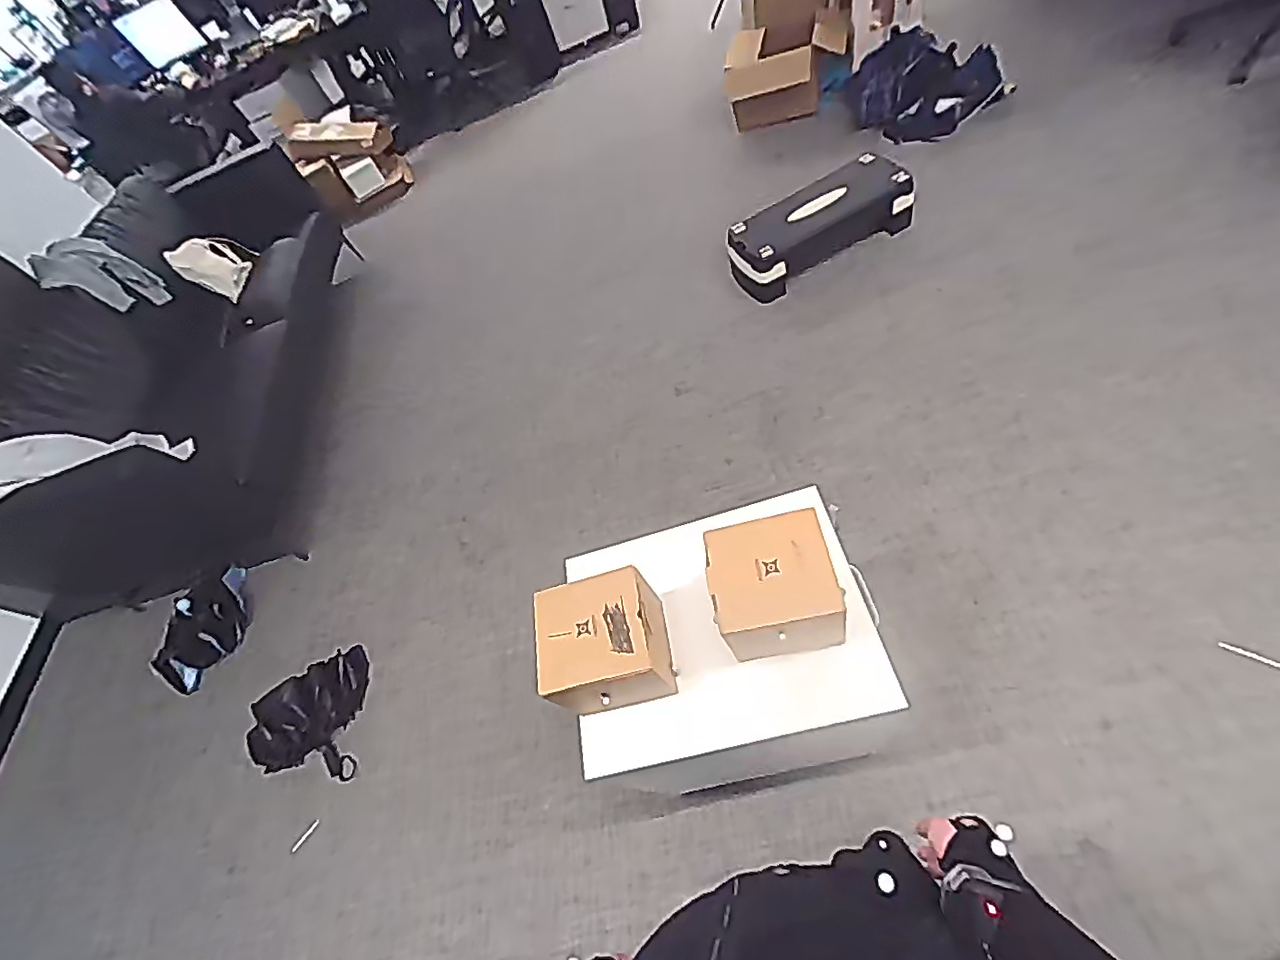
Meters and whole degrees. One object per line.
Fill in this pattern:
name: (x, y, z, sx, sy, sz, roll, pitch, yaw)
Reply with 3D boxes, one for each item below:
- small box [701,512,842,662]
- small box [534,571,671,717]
small box: (0.207, 0.176, 0.847, 0.179, 0.176, 0.168, -14, 56, 11)
small box: (-0.056, 0.271, 0.879, 0.179, 0.176, 0.168, -17, 54, 9)
